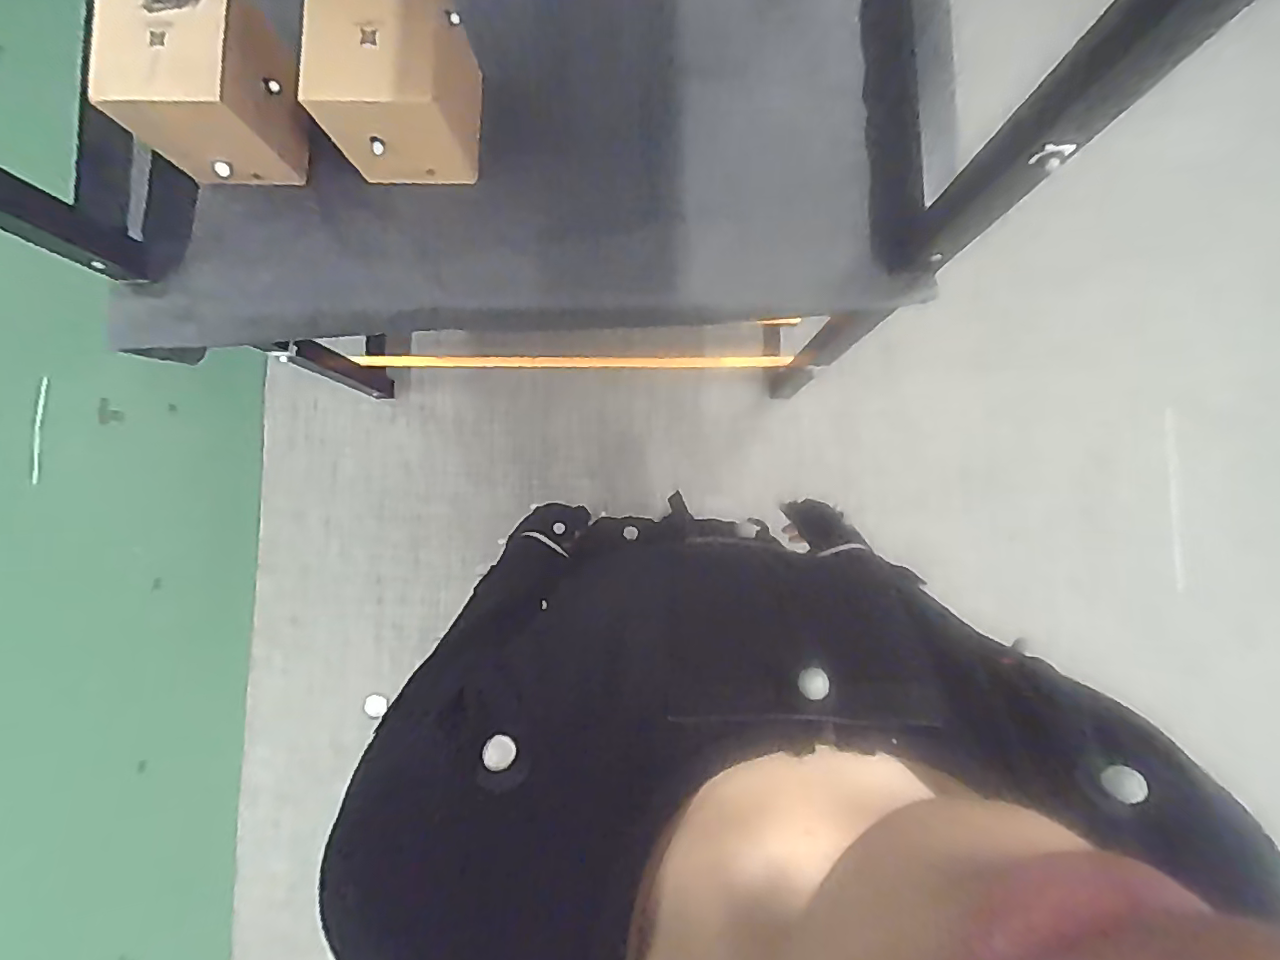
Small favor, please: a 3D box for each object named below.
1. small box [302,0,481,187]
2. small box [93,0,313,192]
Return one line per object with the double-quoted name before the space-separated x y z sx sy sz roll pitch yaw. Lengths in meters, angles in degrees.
"small box" -0.325 -0.527 0.737 0.168 0.176 0.179 1 86 1
"small box" -0.578 -0.529 0.740 0.168 0.176 0.179 1 86 1
